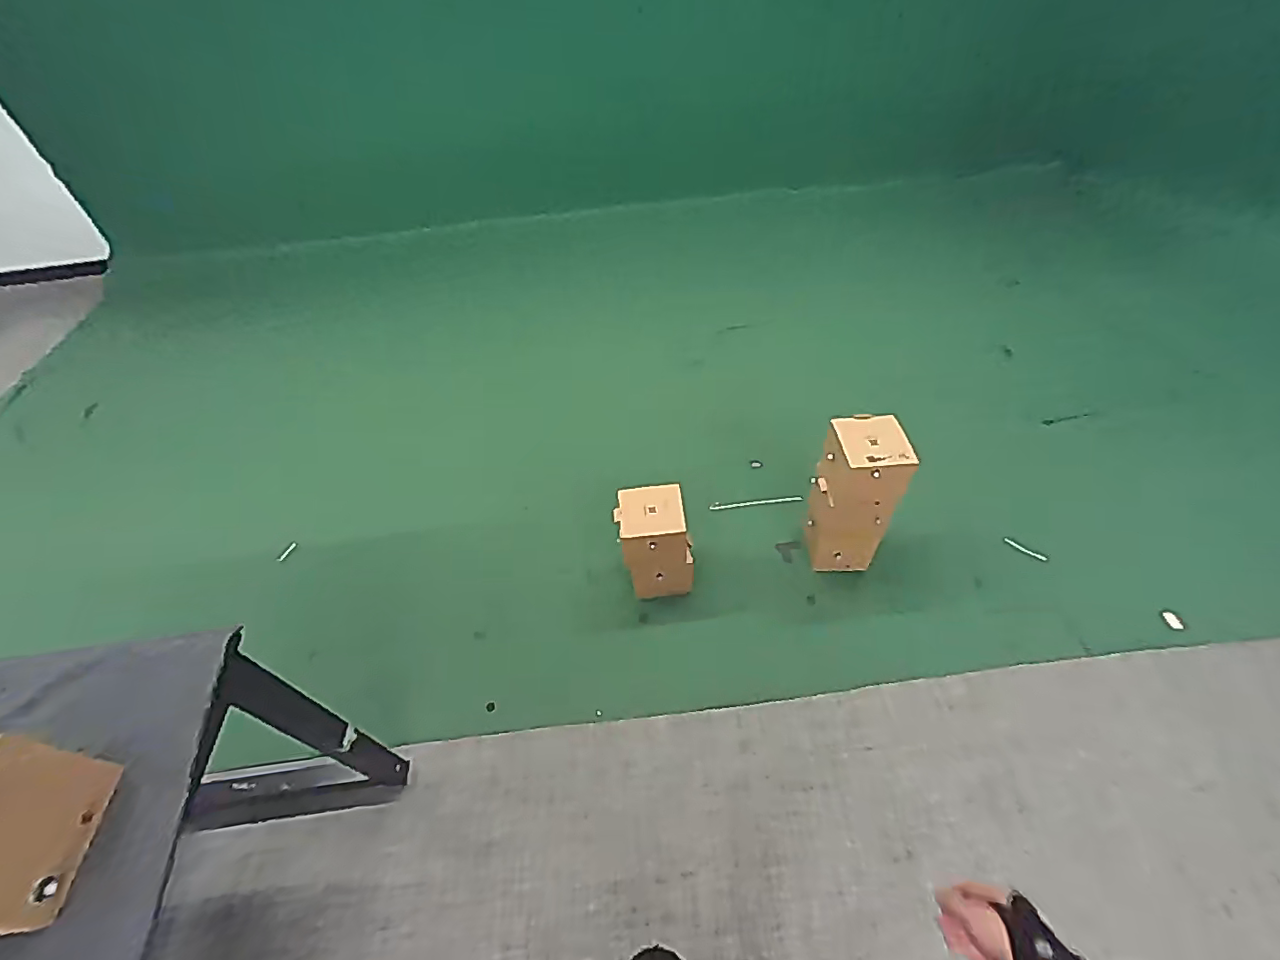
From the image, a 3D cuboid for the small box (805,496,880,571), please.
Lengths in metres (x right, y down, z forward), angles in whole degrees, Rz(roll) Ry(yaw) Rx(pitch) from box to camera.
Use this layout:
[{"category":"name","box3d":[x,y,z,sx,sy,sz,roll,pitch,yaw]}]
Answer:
[{"category":"small box","box3d":[0.612,0.167,1.655,0.168,0.176,0.179,-1,49,4]}]

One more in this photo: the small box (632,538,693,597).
[{"category":"small box","box3d":[0.063,0.239,1.633,0.179,0.176,0.168,-7,50,-2]}]

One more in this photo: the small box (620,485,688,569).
[{"category":"small box","box3d":[0.040,0.135,1.510,0.179,0.176,0.168,-5,50,-1]}]

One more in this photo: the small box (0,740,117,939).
[{"category":"small box","box3d":[-0.751,0.400,0.590,0.179,0.176,0.168,-9,50,1]}]

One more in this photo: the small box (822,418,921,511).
[{"category":"small box","box3d":[0.587,-0.040,1.400,0.168,0.176,0.179,-3,48,0]}]
